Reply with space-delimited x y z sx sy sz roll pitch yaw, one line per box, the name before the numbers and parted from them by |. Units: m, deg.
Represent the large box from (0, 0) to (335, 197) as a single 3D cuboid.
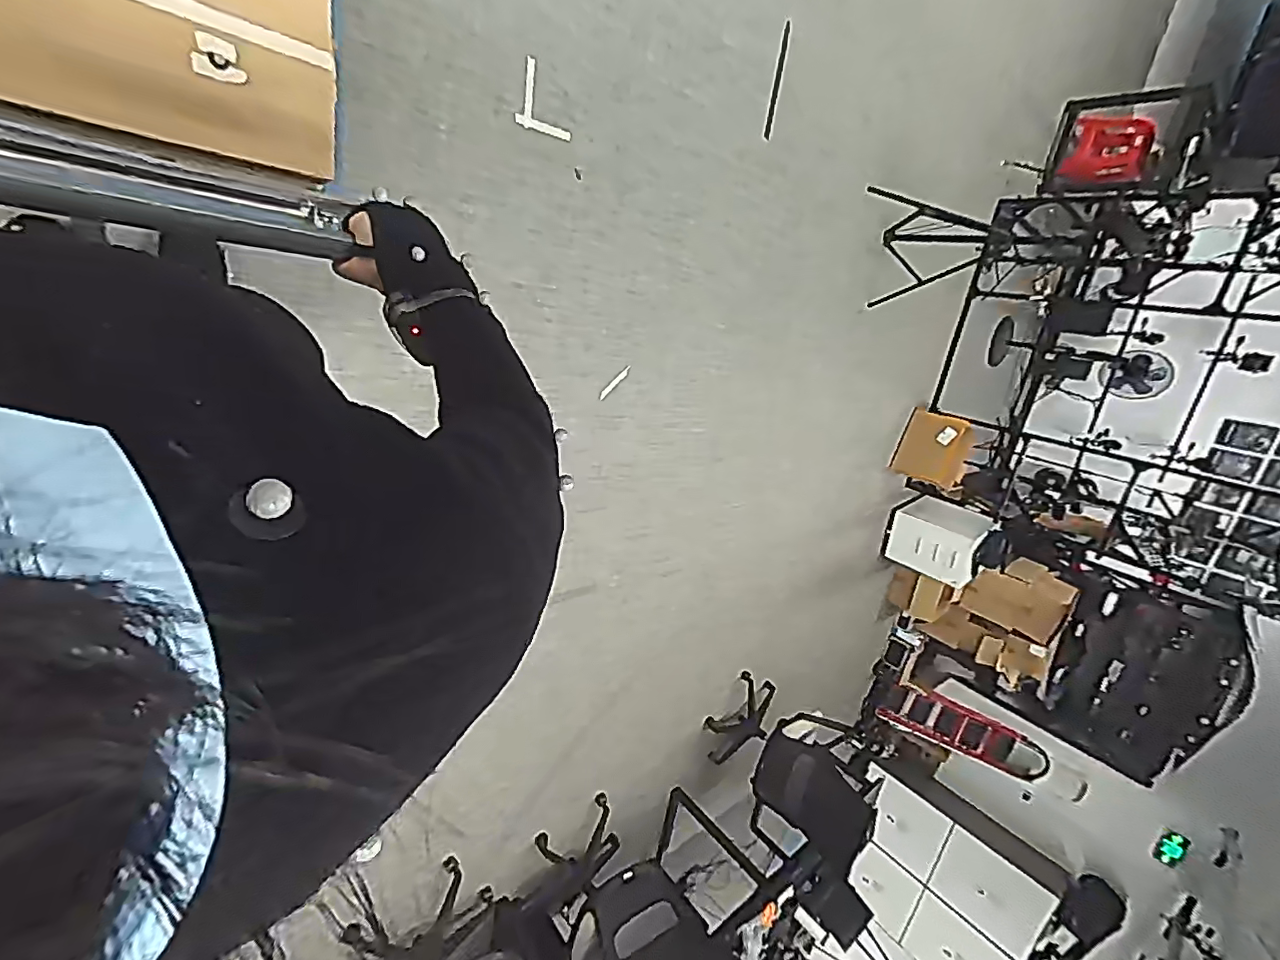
large box | -0.690 -0.611 0.747 0.408 0.320 0.320 -7 114 -43
